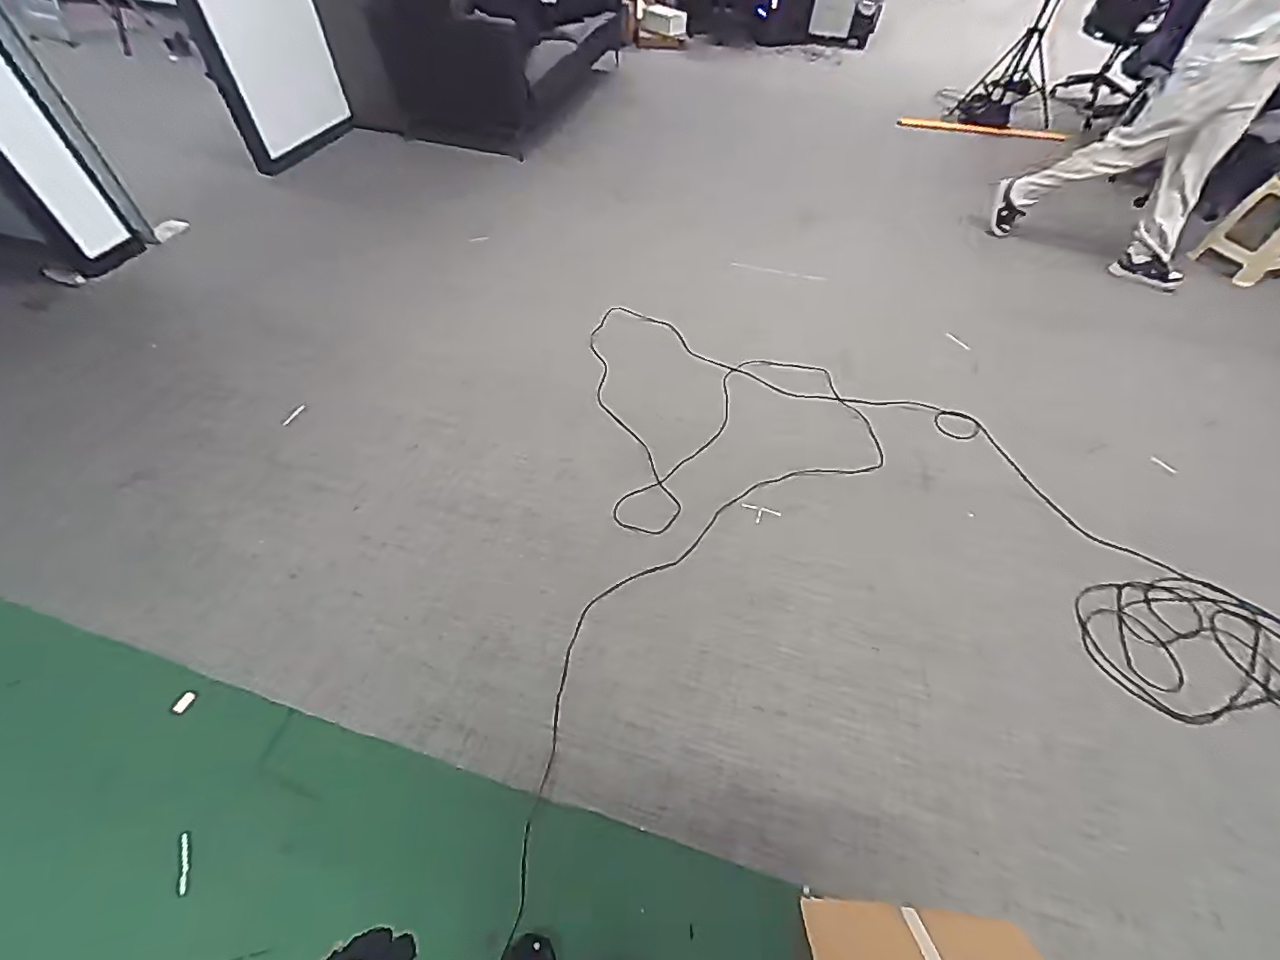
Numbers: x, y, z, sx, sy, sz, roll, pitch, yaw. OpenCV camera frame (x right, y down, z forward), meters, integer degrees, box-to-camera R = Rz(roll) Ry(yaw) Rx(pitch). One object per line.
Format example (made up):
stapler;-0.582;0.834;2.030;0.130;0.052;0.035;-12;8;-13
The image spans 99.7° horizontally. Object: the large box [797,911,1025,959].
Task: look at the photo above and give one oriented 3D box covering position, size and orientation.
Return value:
large box;0.369;0.809;0.613;0.320;0.408;0.320;3;88;6
